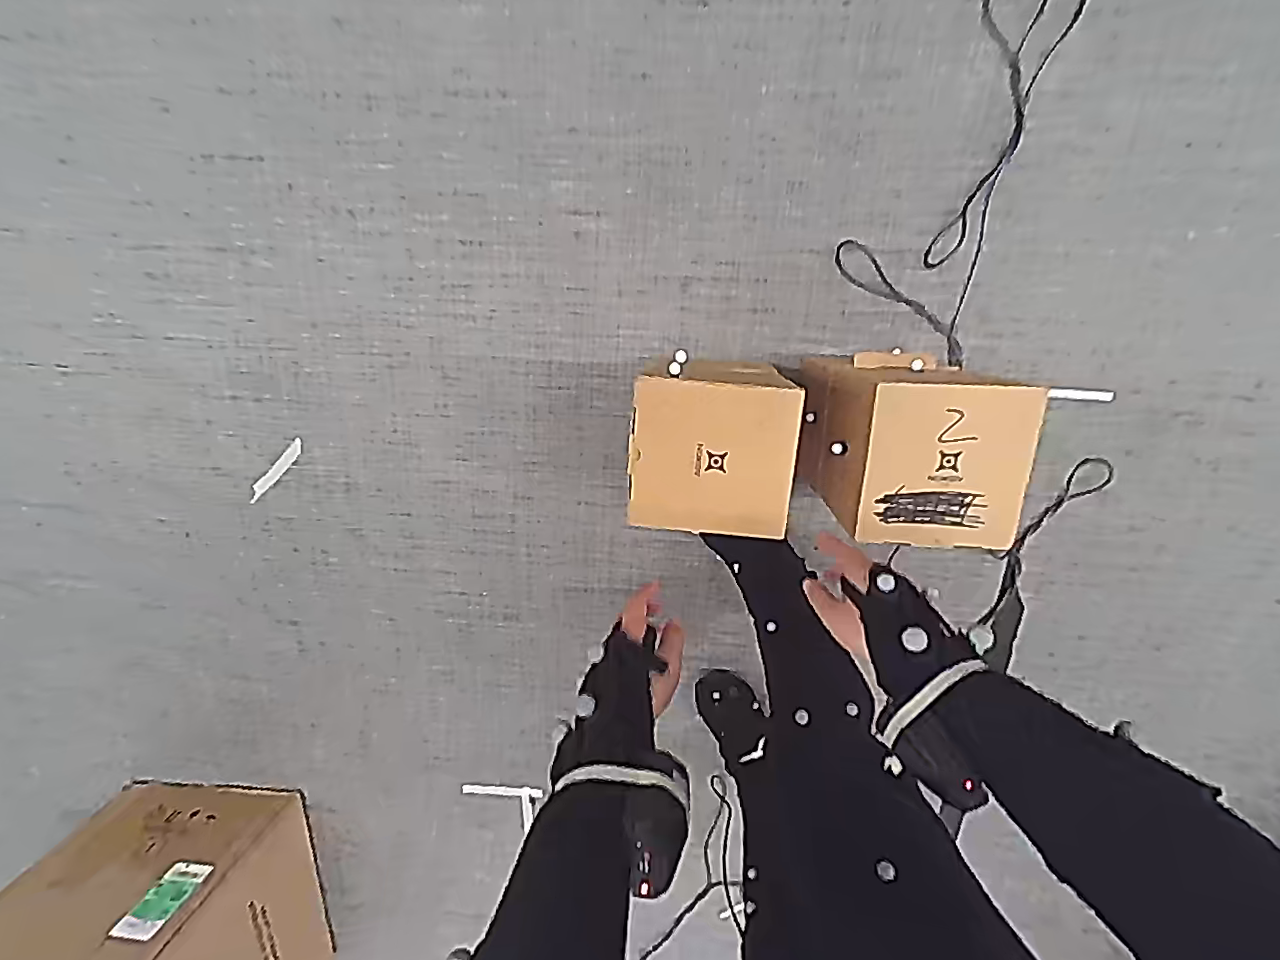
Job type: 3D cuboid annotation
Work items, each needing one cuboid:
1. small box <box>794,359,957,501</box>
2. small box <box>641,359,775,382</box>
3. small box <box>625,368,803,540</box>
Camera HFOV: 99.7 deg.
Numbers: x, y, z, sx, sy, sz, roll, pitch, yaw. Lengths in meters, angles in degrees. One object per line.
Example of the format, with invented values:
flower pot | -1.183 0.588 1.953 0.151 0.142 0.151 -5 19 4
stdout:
small box | 0.325 -0.081 0.788 0.168 0.176 0.179 2 108 4
small box | 0.094 -0.088 0.804 0.179 0.176 0.168 4 107 5
small box | 0.081 -0.041 0.650 0.179 0.176 0.168 5 107 5
